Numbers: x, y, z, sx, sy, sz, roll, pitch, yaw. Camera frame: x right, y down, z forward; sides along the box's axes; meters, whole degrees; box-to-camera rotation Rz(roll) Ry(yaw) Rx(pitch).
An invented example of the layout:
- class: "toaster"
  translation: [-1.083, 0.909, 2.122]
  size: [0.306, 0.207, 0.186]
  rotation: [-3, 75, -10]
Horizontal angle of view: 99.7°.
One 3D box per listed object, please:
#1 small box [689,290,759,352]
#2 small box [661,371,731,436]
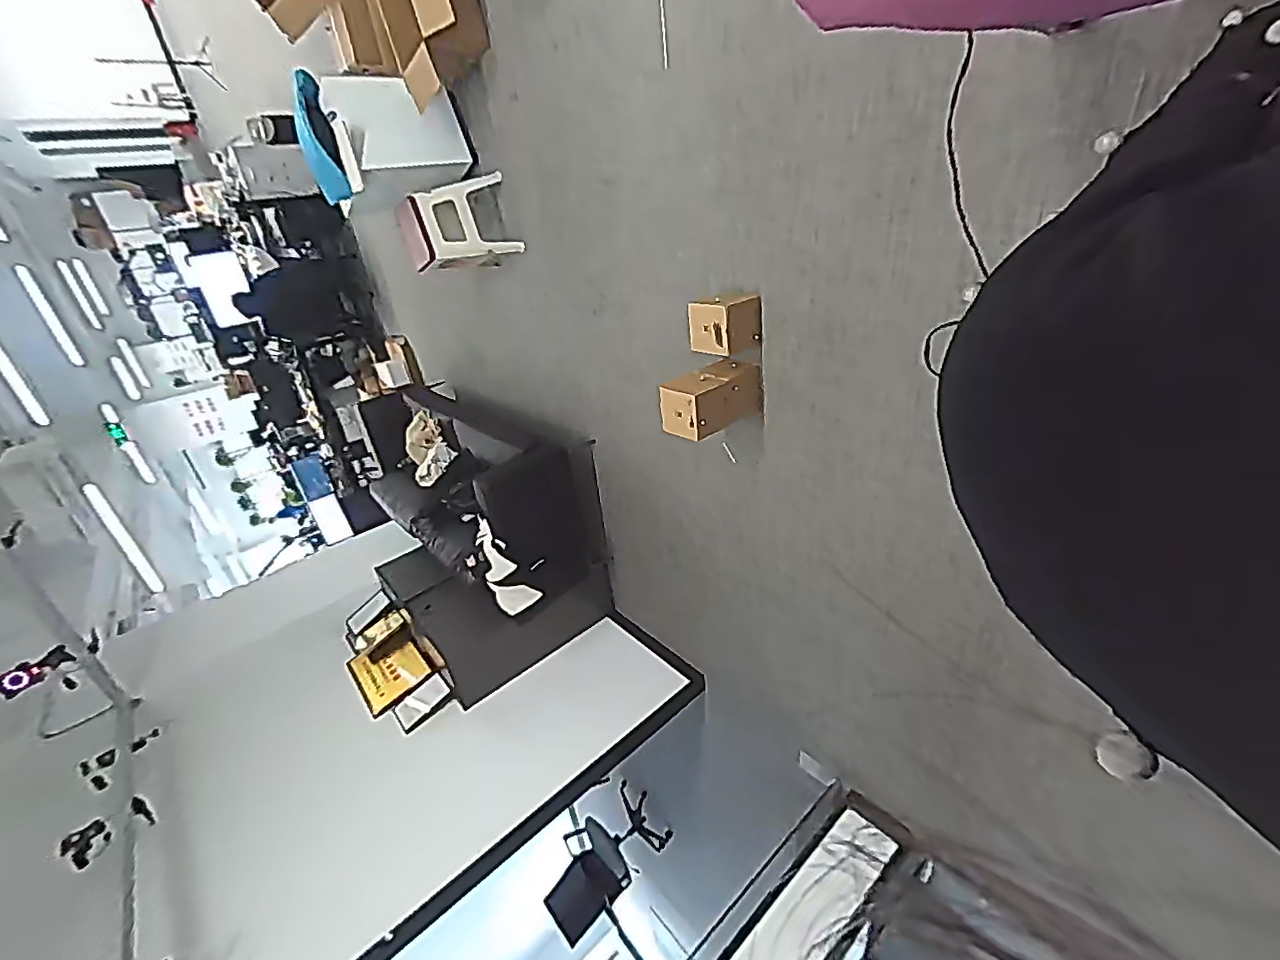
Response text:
- class: "small box"
  translation: [0.291, -0.547, 1.841]
  size: [0.179, 0.176, 0.168]
  rotation: [25, 131, 45]
- class: "small box"
  translation: [0.194, -0.272, 1.873]
  size: [0.179, 0.176, 0.168]
  rotation: [26, 132, 45]
